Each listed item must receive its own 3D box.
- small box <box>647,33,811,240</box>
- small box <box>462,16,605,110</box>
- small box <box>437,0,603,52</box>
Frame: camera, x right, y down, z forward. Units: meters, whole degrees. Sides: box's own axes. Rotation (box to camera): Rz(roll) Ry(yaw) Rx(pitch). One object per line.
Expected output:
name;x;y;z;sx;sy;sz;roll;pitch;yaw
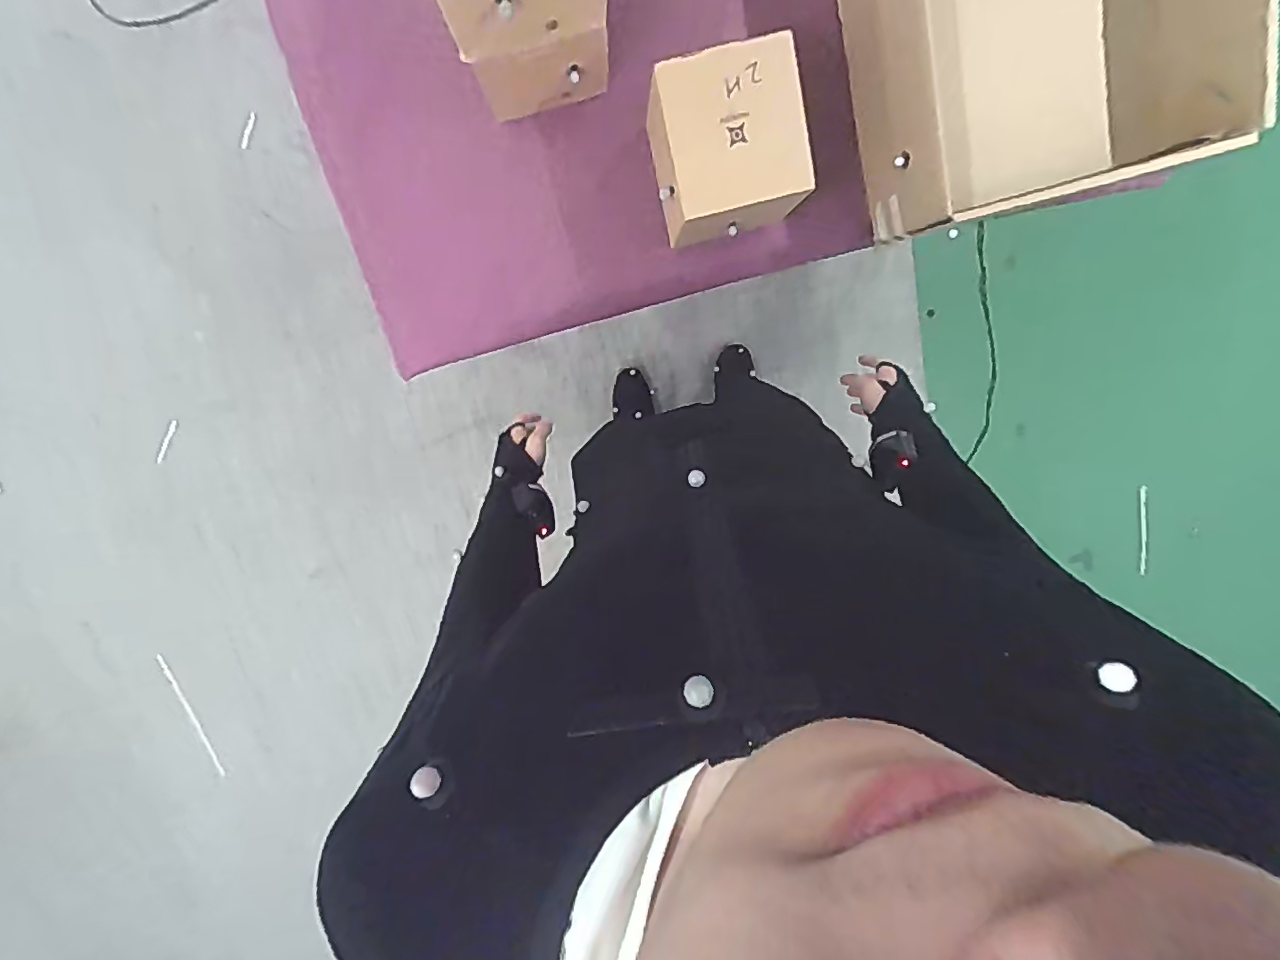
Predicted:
small box;0.109;-0.433;0.718;0.168;0.176;0.179;-14;103;0
small box;-0.141;-0.595;0.673;0.168;0.176;0.179;-15;103;0
small box;-0.134;-0.554;0.517;0.168;0.176;0.179;-15;103;0
